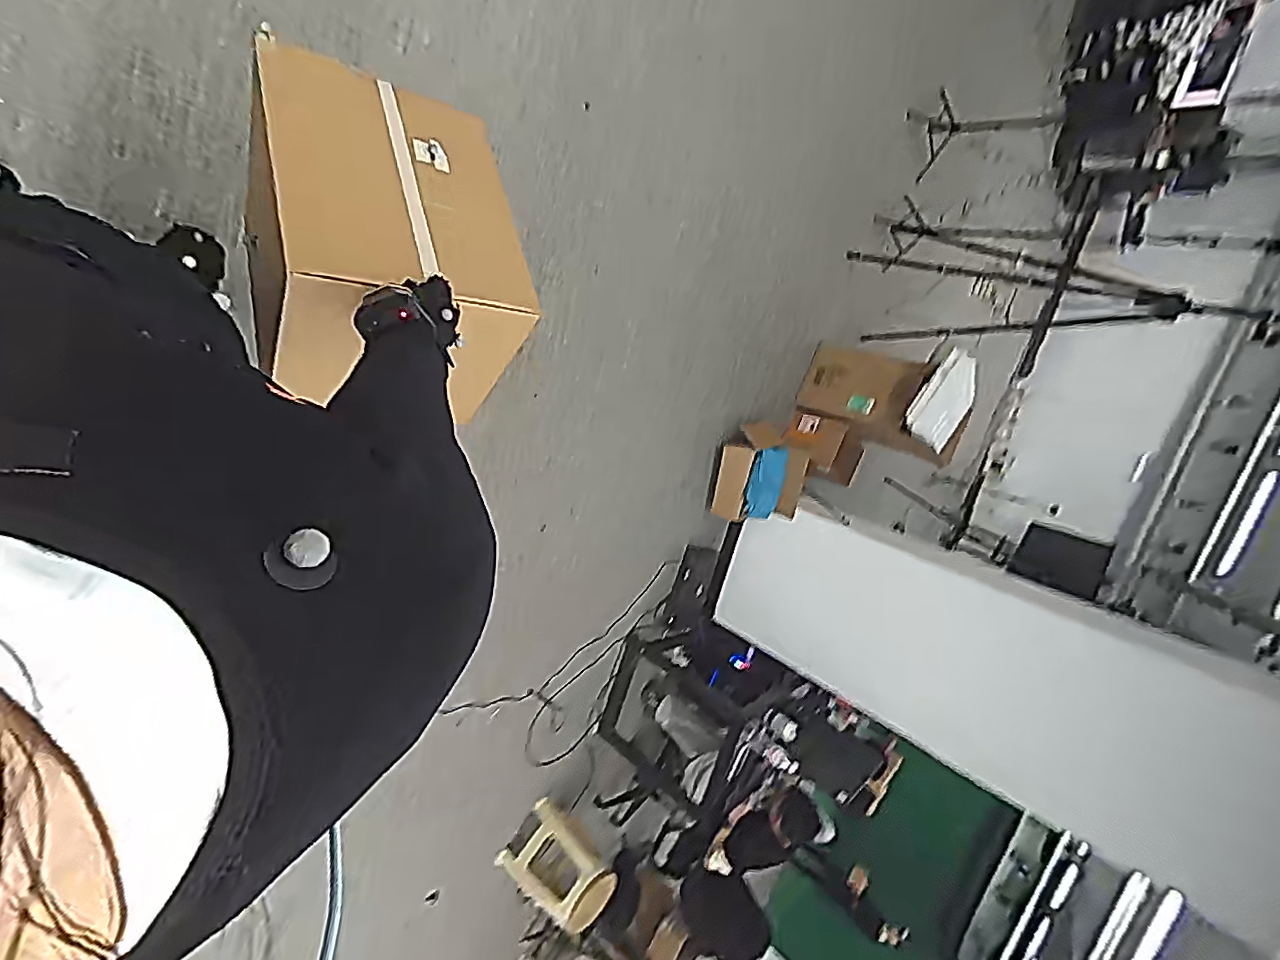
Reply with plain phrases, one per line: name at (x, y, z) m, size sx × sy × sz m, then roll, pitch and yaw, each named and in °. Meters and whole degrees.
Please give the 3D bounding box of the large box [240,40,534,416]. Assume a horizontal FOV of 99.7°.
large box at (-0.418, -0.348, 0.855) m, size 0.320 × 0.408 × 0.320 m, roll -4°, pitch 156°, yaw -41°
